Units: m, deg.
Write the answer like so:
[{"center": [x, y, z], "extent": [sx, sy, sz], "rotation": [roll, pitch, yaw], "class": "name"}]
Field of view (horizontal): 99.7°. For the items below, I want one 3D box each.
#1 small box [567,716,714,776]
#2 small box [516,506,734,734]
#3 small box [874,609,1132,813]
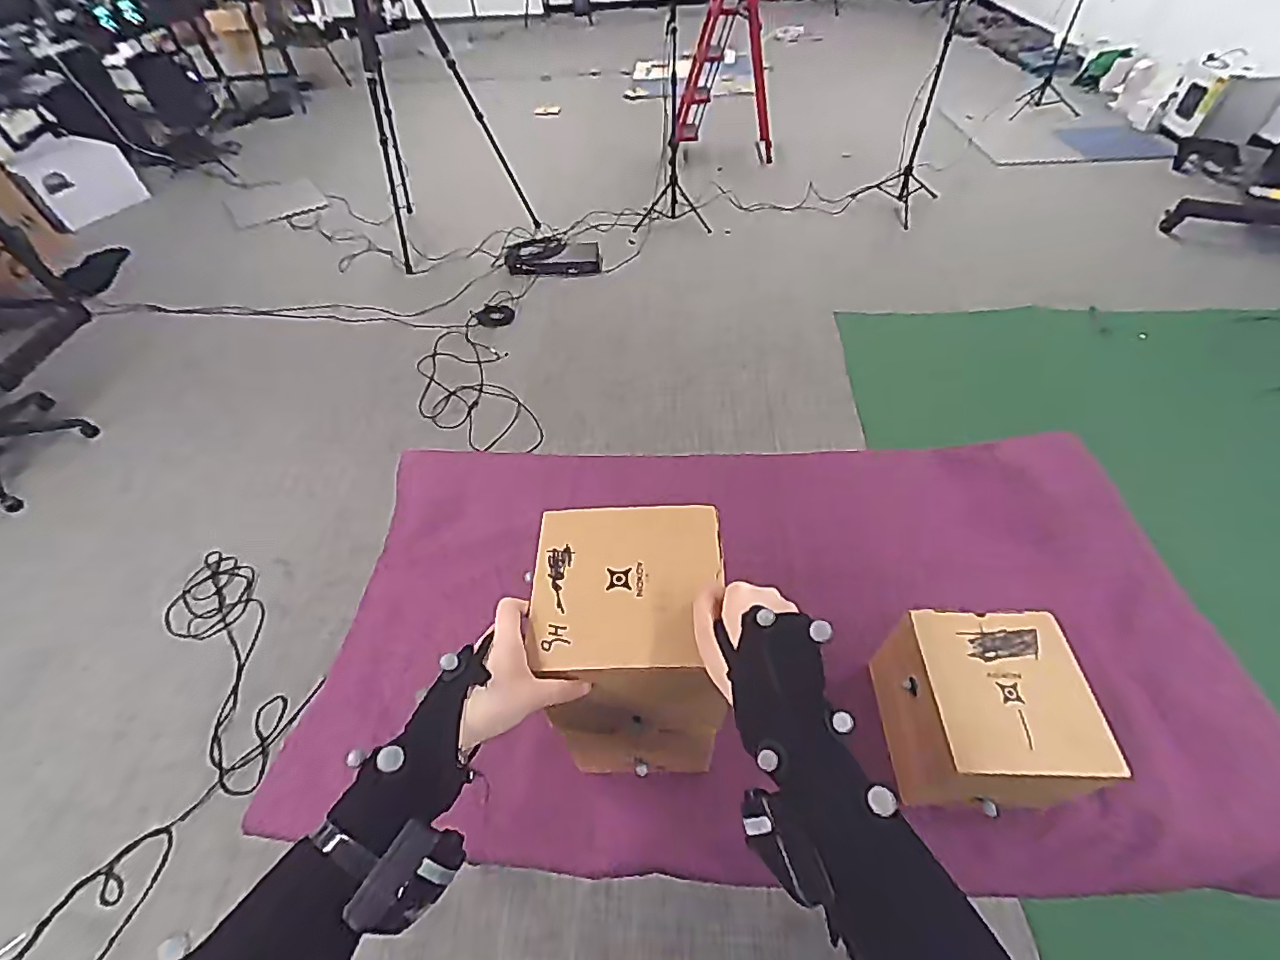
[{"center": [0.000, 0.247, 0.670], "extent": [0.168, 0.176, 0.179], "rotation": [-1, 48, 3], "class": "small box"}, {"center": [-0.009, 0.141, 0.539], "extent": [0.179, 0.176, 0.168], "rotation": [-1, 48, 2], "class": "small box"}, {"center": [0.392, 0.270, 0.630], "extent": [0.168, 0.176, 0.179], "rotation": [0, 50, 4], "class": "small box"}]
